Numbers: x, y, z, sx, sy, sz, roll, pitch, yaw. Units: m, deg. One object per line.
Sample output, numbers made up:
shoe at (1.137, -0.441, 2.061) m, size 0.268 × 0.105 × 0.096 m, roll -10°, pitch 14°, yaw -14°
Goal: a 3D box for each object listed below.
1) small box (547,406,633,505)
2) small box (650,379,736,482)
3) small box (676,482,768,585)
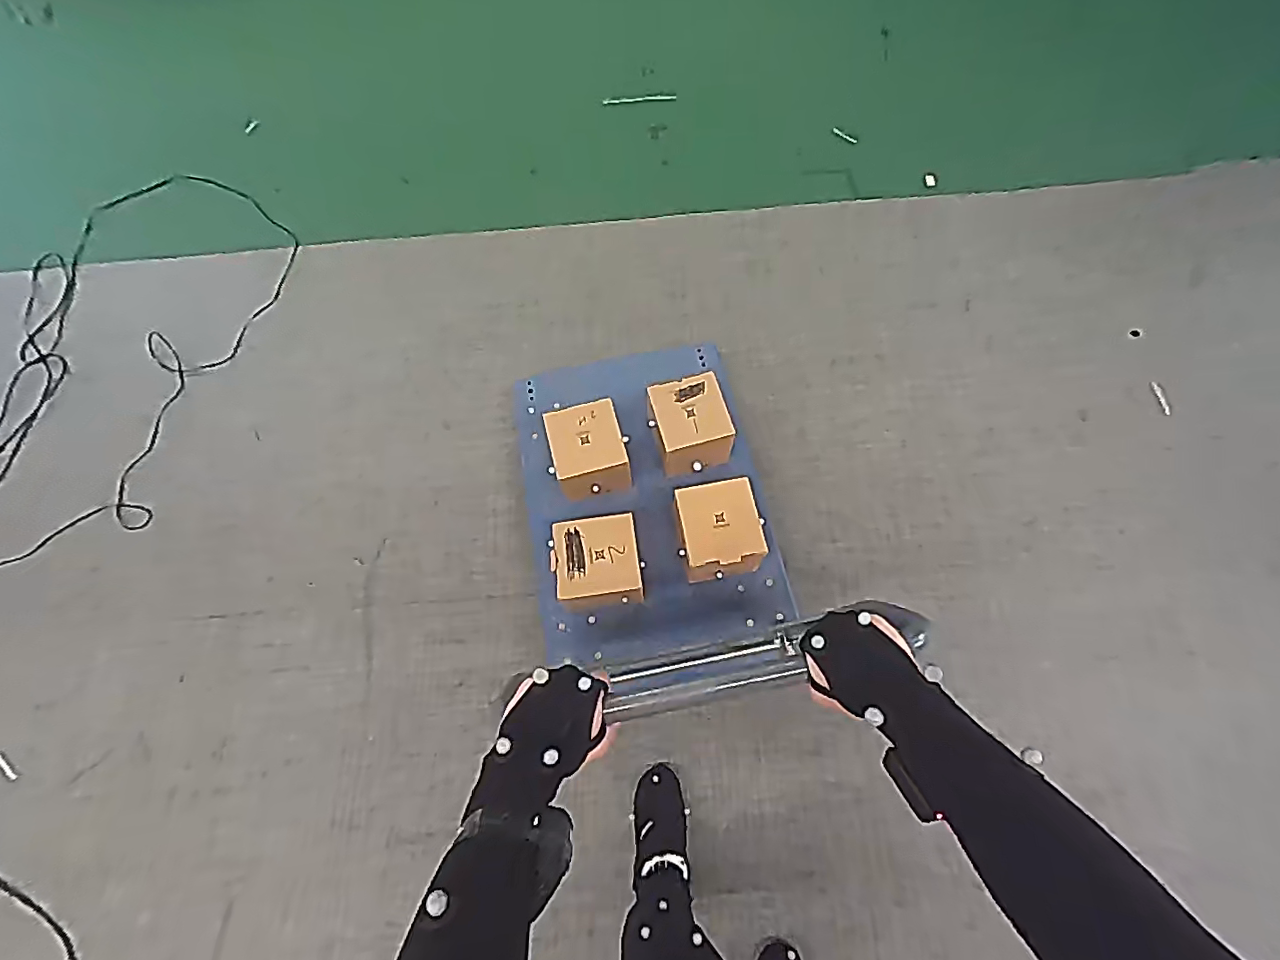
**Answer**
small box at (-0.118, -0.052, 1.327) m, size 0.168 × 0.176 × 0.179 m, roll -15°, pitch 68°, yaw -4°
small box at (0.125, -0.118, 1.342) m, size 0.168 × 0.176 × 0.179 m, roll -15°, pitch 68°, yaw -2°
small box at (0.179, 0.127, 1.240) m, size 0.168 × 0.176 × 0.179 m, roll -11°, pitch 68°, yaw -2°
